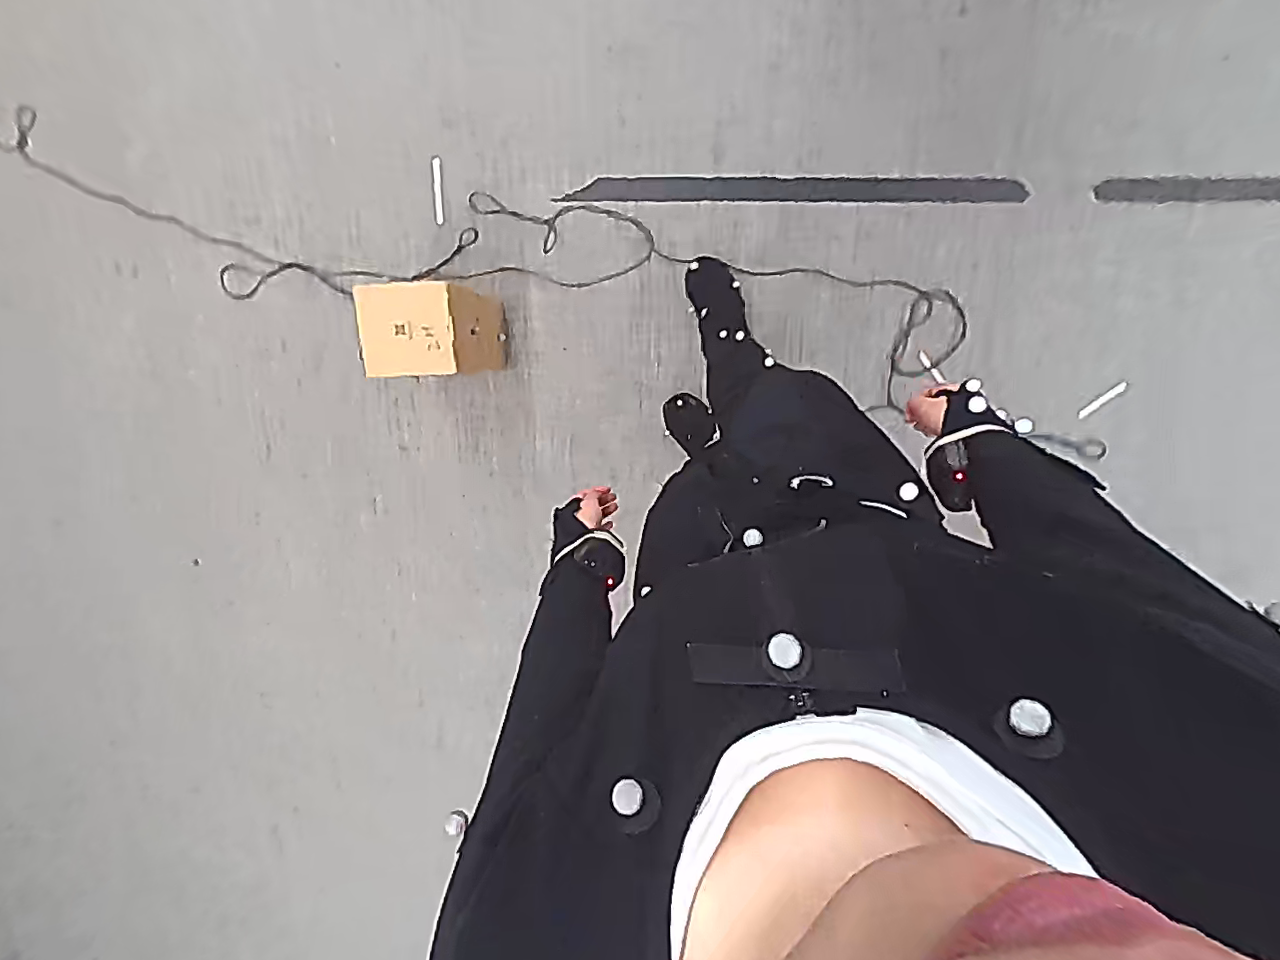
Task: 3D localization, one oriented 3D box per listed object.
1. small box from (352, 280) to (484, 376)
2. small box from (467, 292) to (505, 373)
[{"bbox_3d":[-0.421,-0.289,1.051,0.179,0.176,0.168,-2,104,2],"label":"small box"},{"bbox_3d":[-0.414,-0.326,1.211,0.179,0.176,0.168,0,103,2],"label":"small box"}]
